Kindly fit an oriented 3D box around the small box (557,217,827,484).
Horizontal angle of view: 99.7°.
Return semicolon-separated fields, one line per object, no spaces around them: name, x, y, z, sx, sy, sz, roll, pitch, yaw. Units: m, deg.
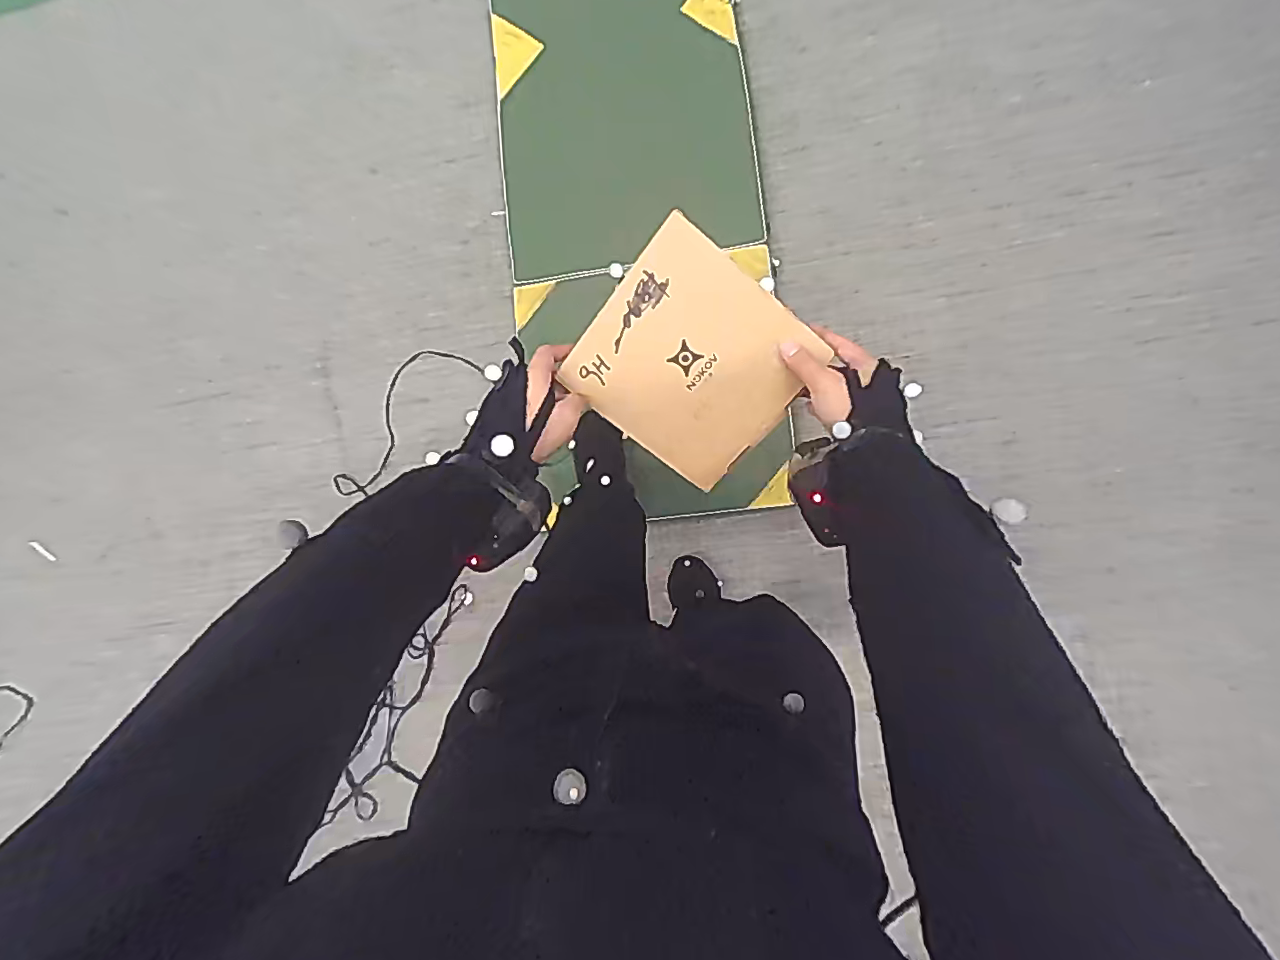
small box;0.047;-0.133;0.536;0.179;0.176;0.168;36;110;-13
